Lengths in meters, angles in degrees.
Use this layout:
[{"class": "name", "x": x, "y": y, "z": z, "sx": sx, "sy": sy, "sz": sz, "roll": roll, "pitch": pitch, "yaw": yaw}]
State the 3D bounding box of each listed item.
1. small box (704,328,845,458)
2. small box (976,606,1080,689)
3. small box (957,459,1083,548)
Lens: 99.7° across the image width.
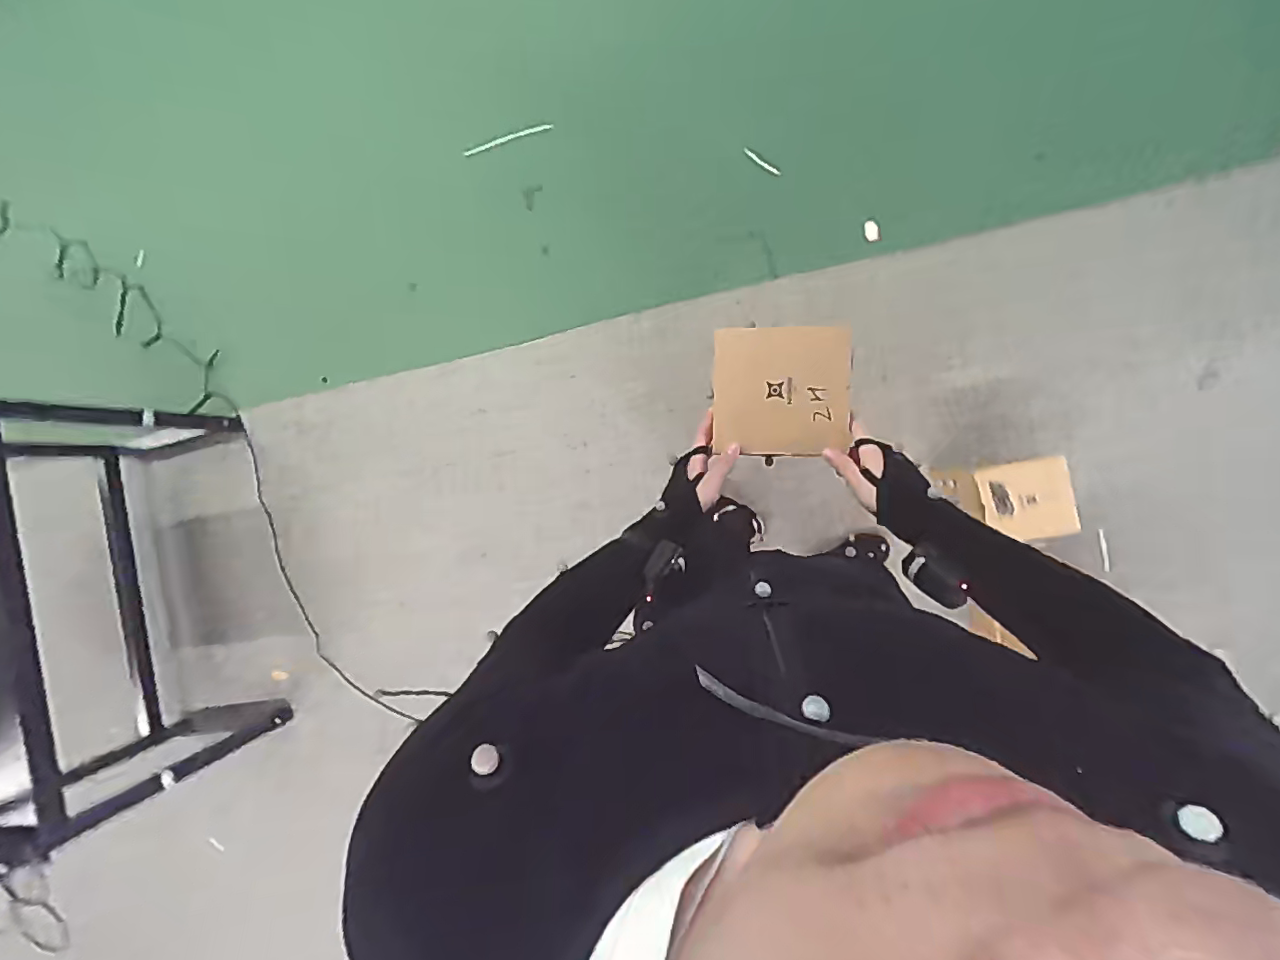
[{"class": "small box", "x": 0.187, "y": -0.116, "z": 0.776, "sx": 0.179, "sy": 0.176, "sz": 0.168, "roll": 1, "pitch": 93, "yaw": 10}, {"class": "small box", "x": 0.968, "y": 0.422, "z": 1.364, "sx": 0.179, "sy": 0.176, "sz": 0.168, "roll": -1, "pitch": 92, "yaw": 15}, {"class": "small box", "x": 0.839, "y": 0.052, "z": 1.217, "sx": 0.179, "sy": 0.176, "sz": 0.168, "roll": -11, "pitch": 89, "yaw": 13}]
